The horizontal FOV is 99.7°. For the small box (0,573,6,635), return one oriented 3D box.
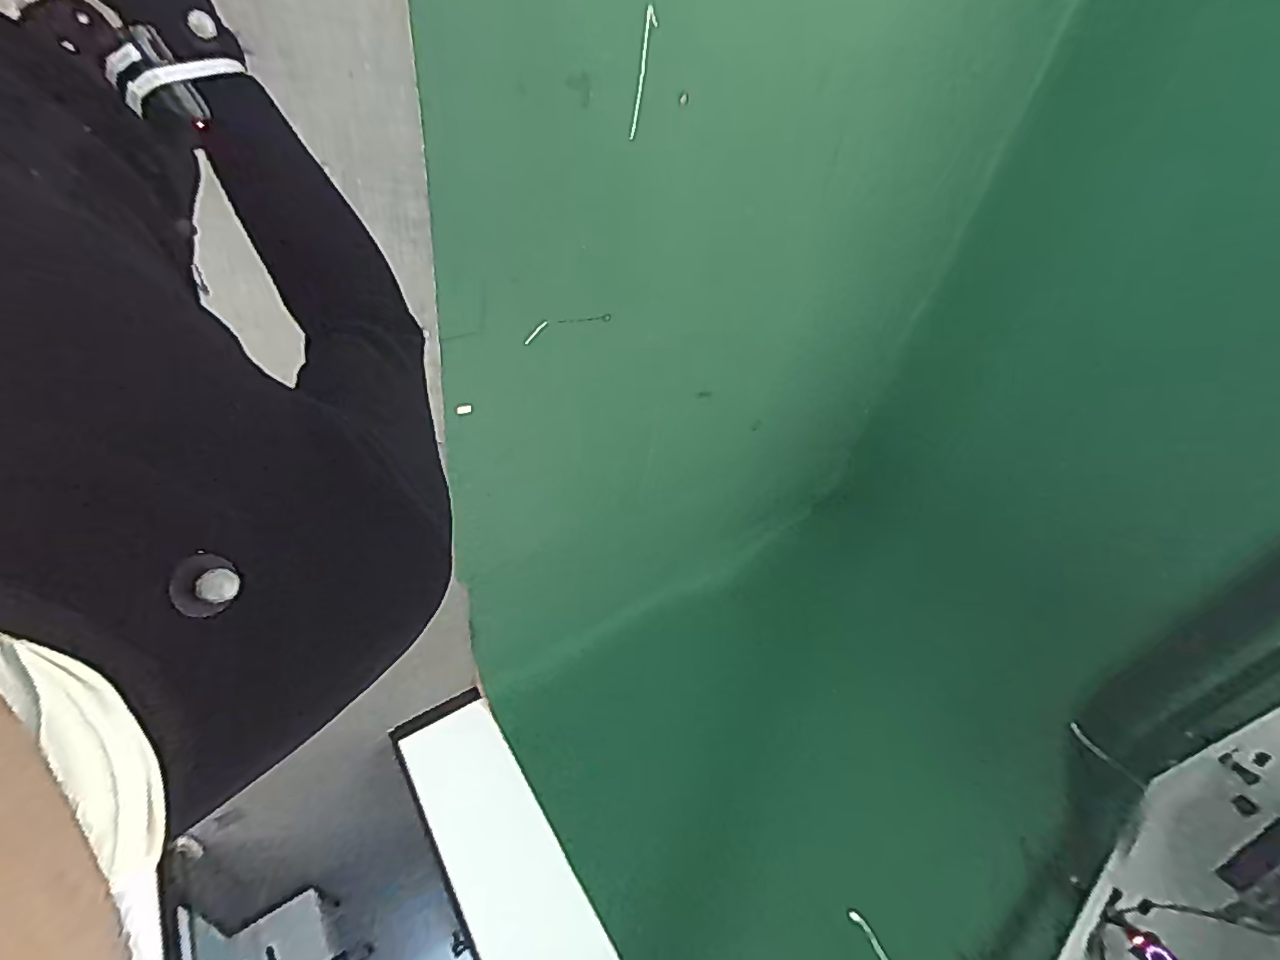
[{"bbox_3d":[-1.631,0.269,1.266,0.168,0.176,0.179,-11,132,-43],"label":"small box"}]
